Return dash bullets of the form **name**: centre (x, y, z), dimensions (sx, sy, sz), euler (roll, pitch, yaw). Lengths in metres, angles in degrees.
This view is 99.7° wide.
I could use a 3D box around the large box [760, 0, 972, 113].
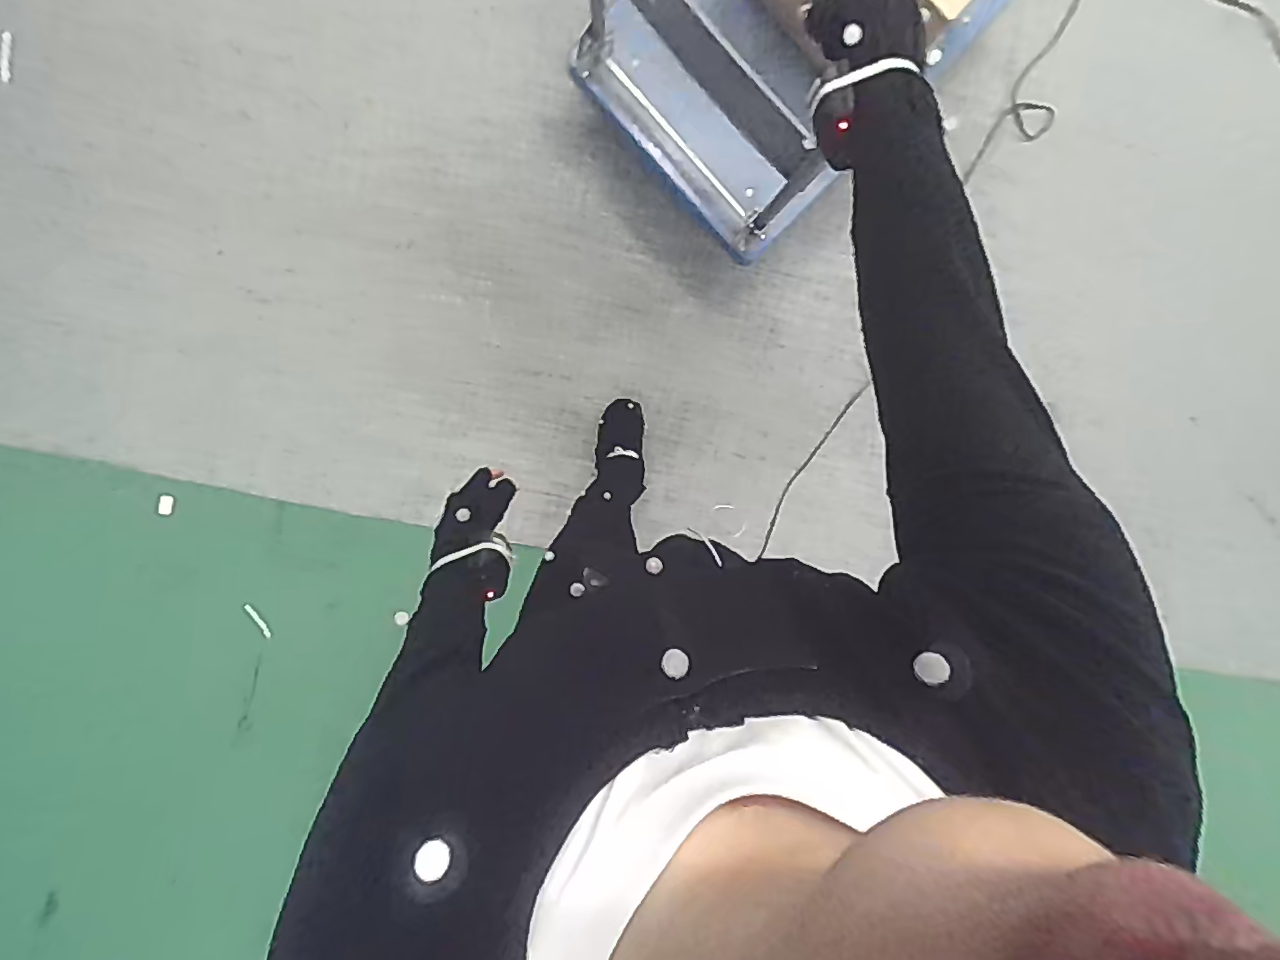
- **large box**: centre (0.451, -1.005, 0.987), dimensions (0.408, 0.320, 0.320), euler (43, 93, -8)
